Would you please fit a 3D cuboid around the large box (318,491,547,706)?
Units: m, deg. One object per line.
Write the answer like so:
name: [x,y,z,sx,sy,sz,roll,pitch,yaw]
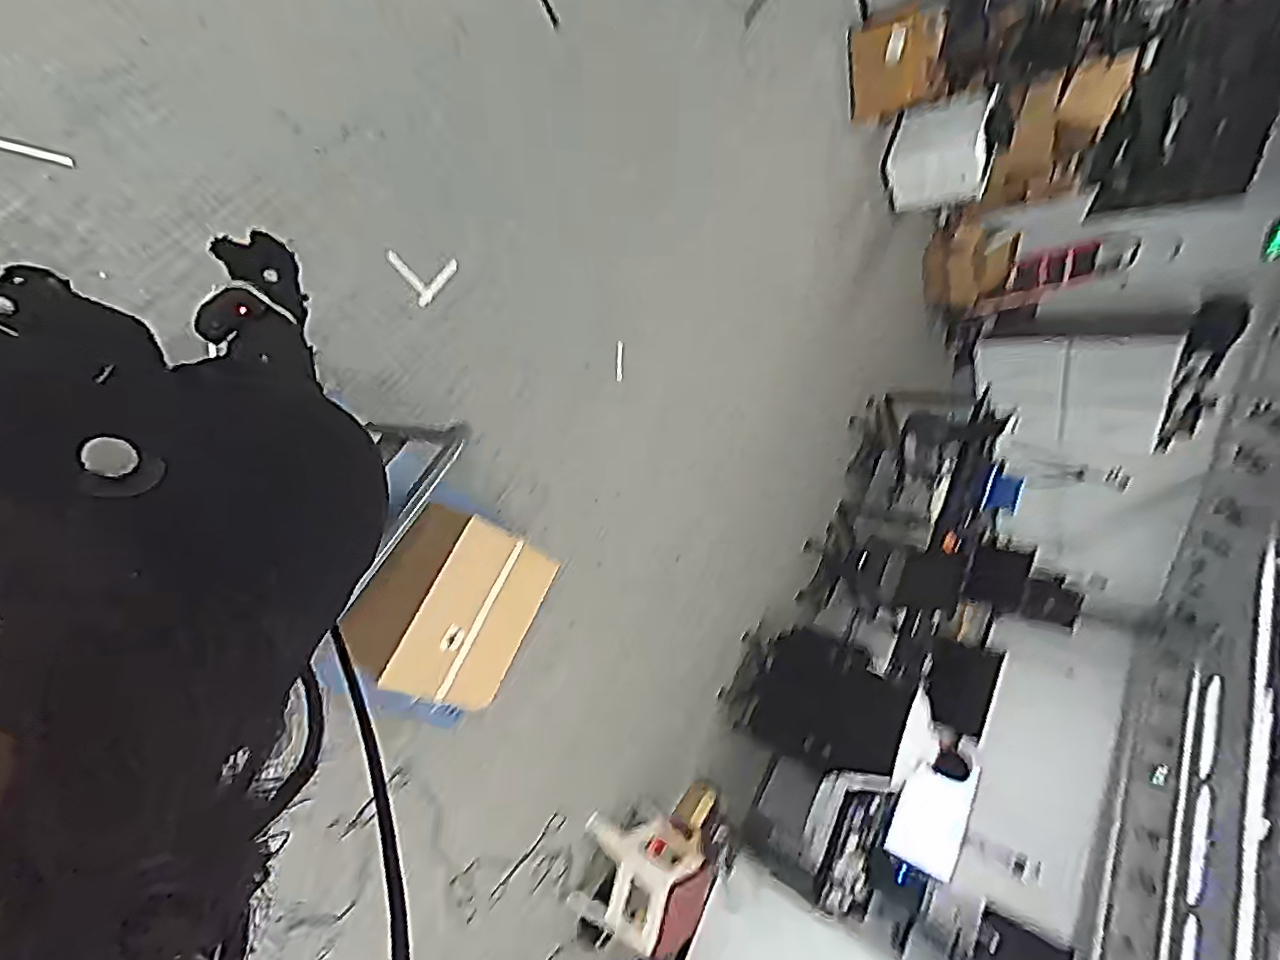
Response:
large box: [-0.513,0.289,1.365,0.320,0.320,0.408,42,68,-44]
